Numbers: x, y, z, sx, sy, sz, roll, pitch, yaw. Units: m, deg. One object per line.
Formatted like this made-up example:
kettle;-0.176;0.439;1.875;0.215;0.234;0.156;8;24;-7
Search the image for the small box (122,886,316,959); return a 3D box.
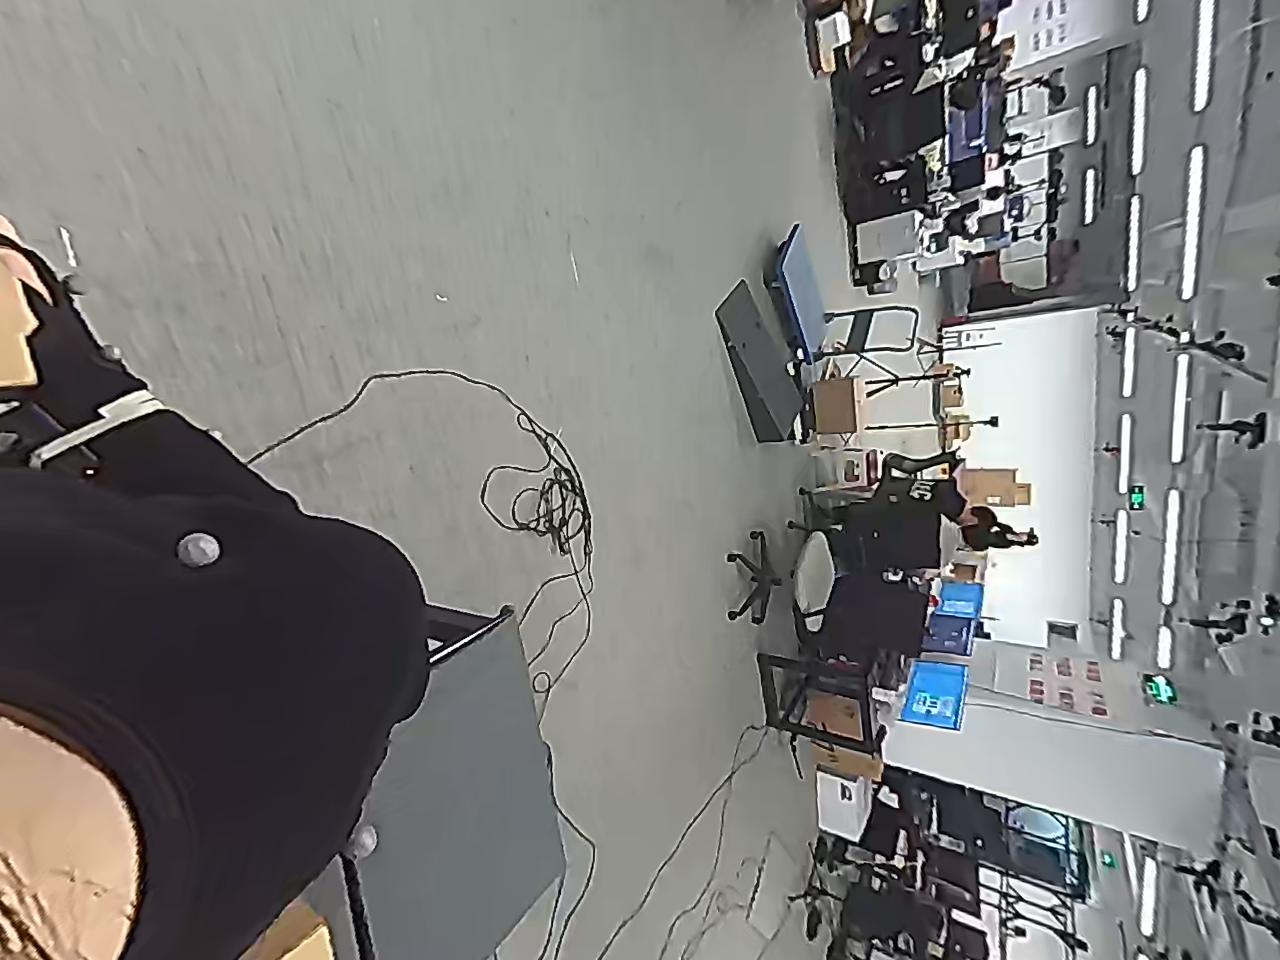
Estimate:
small box;-0.466;0.602;0.586;0.168;0.176;0.179;-16;103;-55
